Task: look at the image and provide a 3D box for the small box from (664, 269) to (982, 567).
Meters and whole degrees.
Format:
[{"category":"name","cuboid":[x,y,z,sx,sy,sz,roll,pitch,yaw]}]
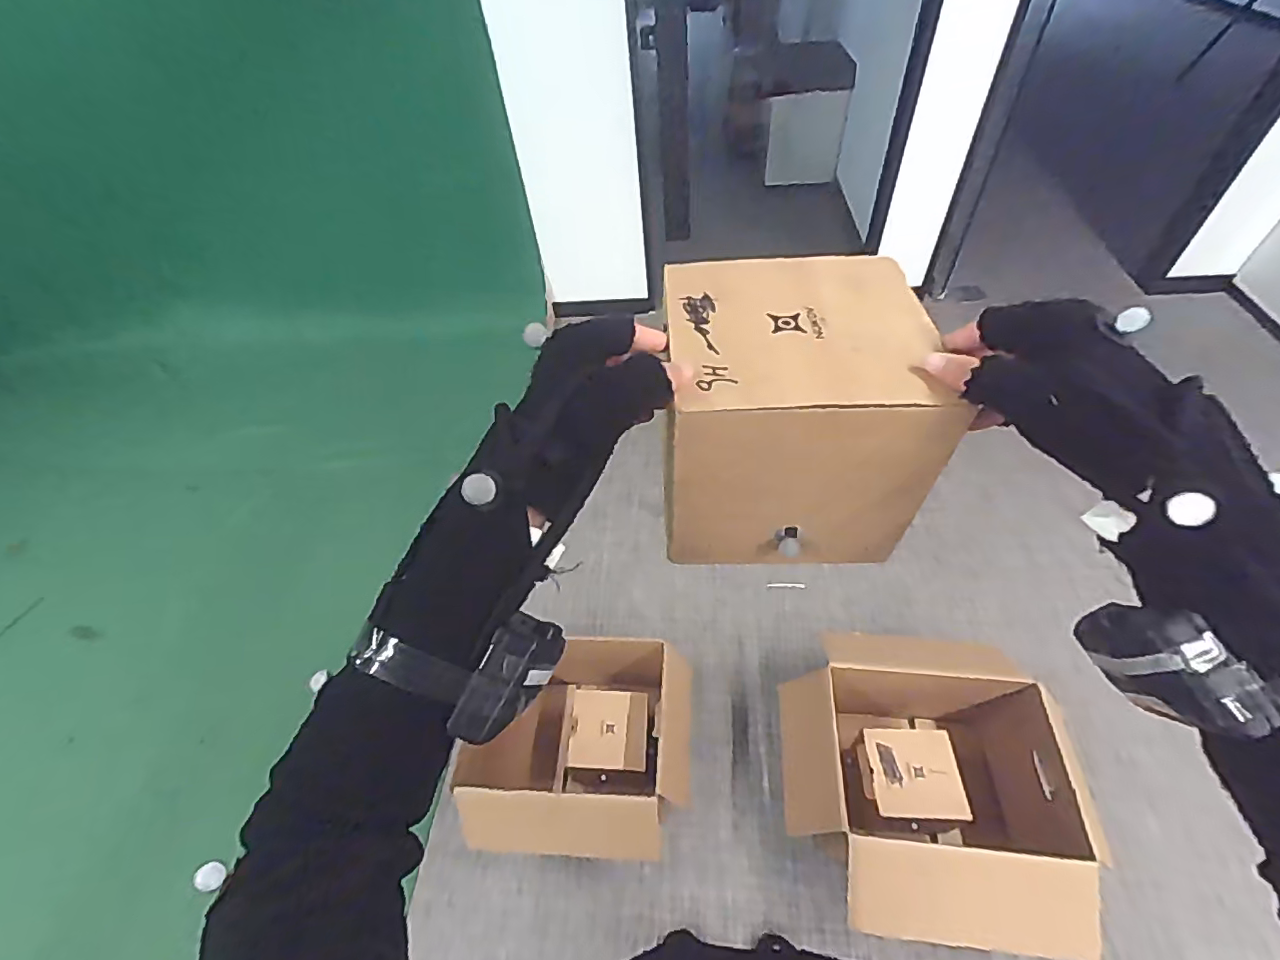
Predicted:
[{"category":"small box","cuboid":[0.112,-0.044,0.422,0.179,0.176,0.168,-1,49,0]}]
